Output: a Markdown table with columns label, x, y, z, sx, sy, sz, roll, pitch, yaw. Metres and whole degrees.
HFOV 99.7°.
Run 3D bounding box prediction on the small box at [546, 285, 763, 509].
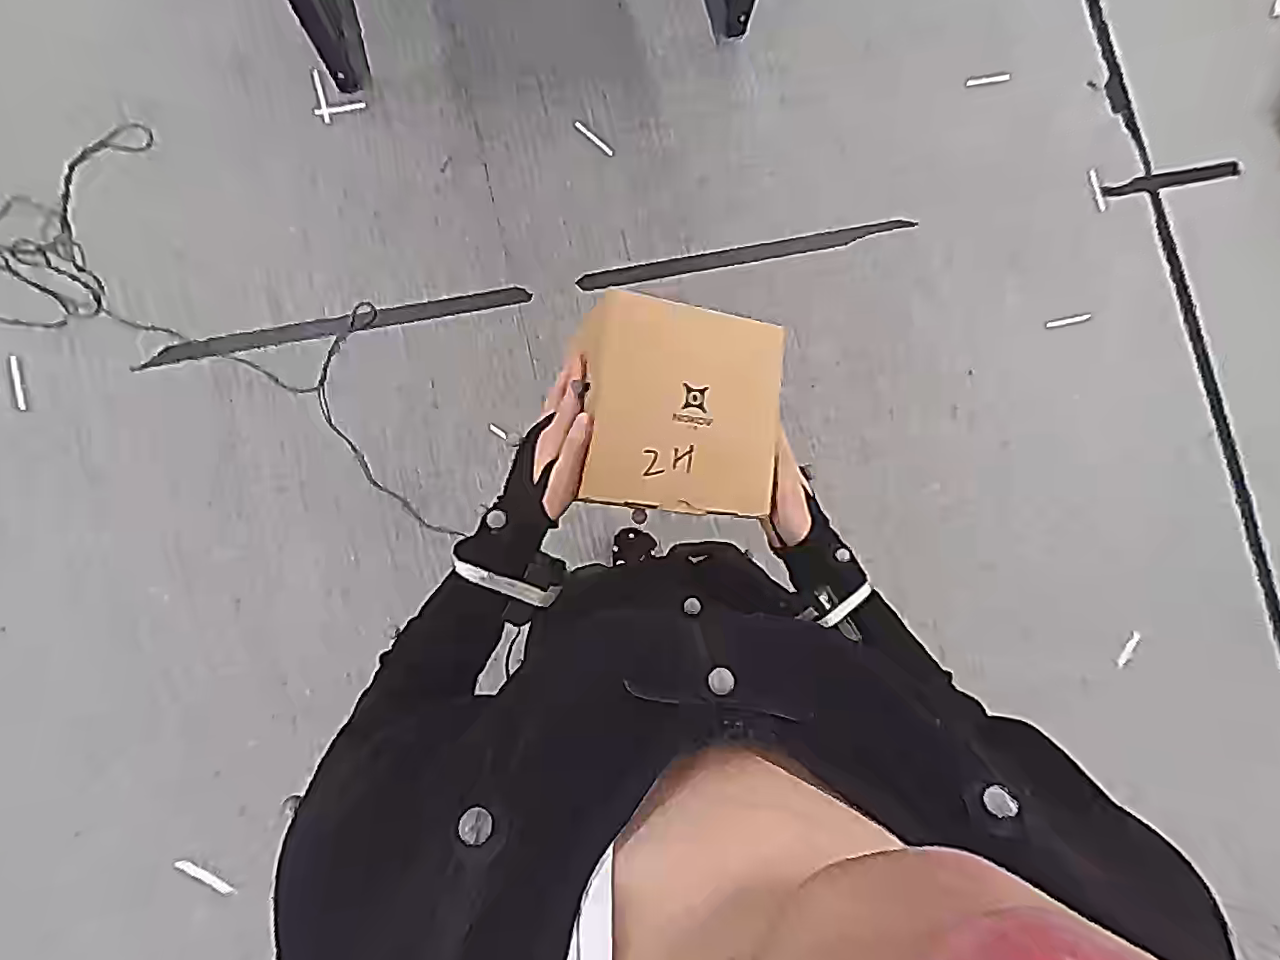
| label | x | y | z | sx | sy | sz | roll | pitch | yaw |
| --- | --- | --- | --- | --- | --- | --- | --- | --- | --- |
| small box | 0.003 | -0.063 | 0.530 | 0.168 | 0.176 | 0.179 | 4 | 87 | -17 |
